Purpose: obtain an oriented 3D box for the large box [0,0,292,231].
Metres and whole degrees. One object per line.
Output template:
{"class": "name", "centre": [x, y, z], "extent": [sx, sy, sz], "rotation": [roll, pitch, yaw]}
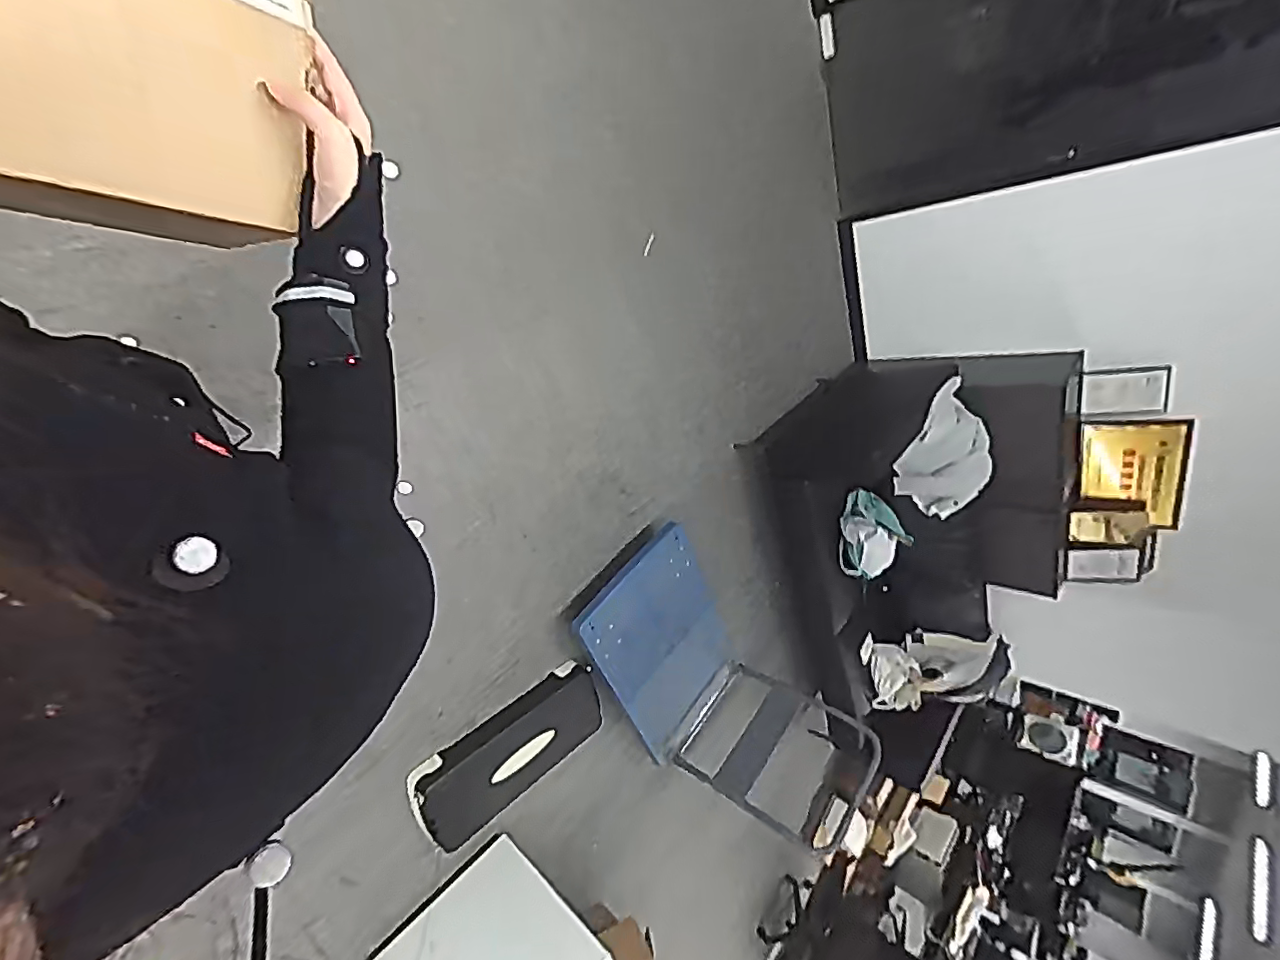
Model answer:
{"class": "large box", "centre": [-0.518, -0.377, 0.376], "extent": [0.408, 0.320, 0.320], "rotation": [-8, 110, -44]}
